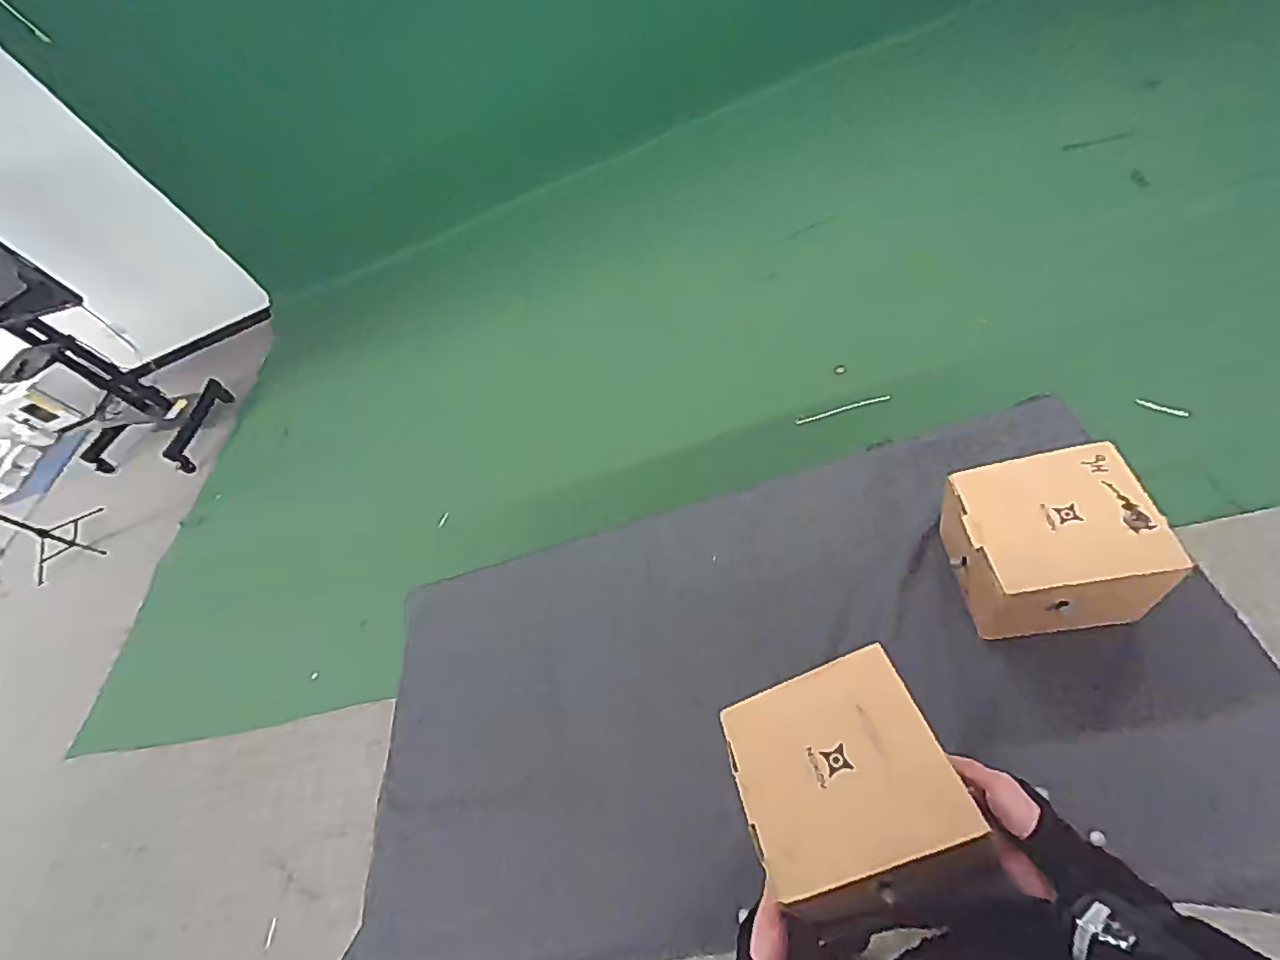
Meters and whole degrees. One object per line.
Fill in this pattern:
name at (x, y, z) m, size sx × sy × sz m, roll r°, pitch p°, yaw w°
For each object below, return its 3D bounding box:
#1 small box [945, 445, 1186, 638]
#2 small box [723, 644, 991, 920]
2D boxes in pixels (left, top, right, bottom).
small box at (0.497, 0.086, 0.672) m, size 0.179 × 0.176 × 0.168 m, roll -13°, pitch 54°, yaw 17°
small box at (0.209, 0.297, 0.525) m, size 0.179 × 0.176 × 0.168 m, roll -27°, pitch 40°, yaw 9°
